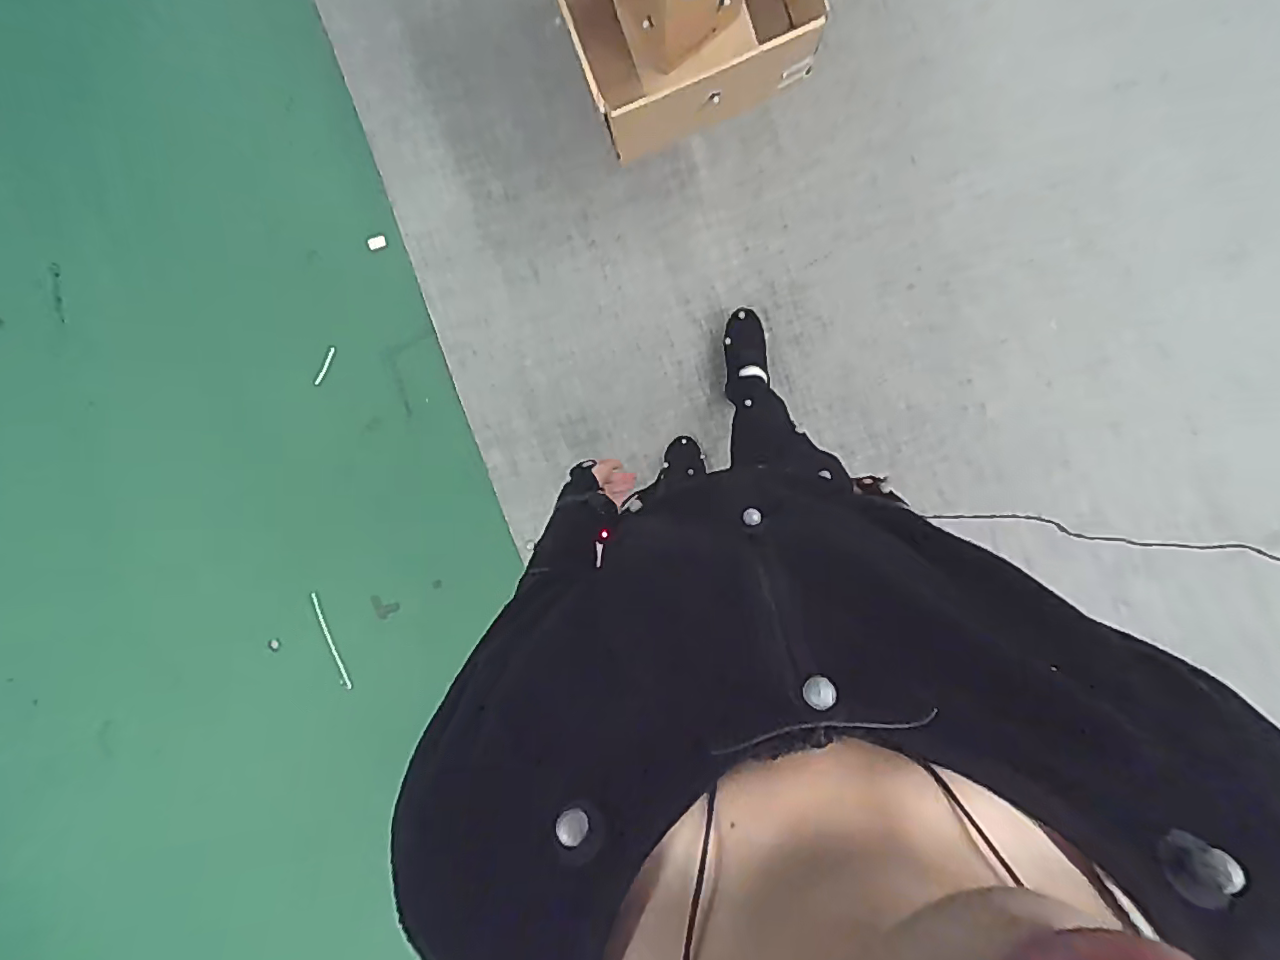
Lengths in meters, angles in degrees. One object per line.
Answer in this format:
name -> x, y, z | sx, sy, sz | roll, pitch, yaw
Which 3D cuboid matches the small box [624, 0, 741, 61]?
small box -> 0.066, -0.861, 0.908 | 0.168, 0.176, 0.179 | -33, 93, 7
